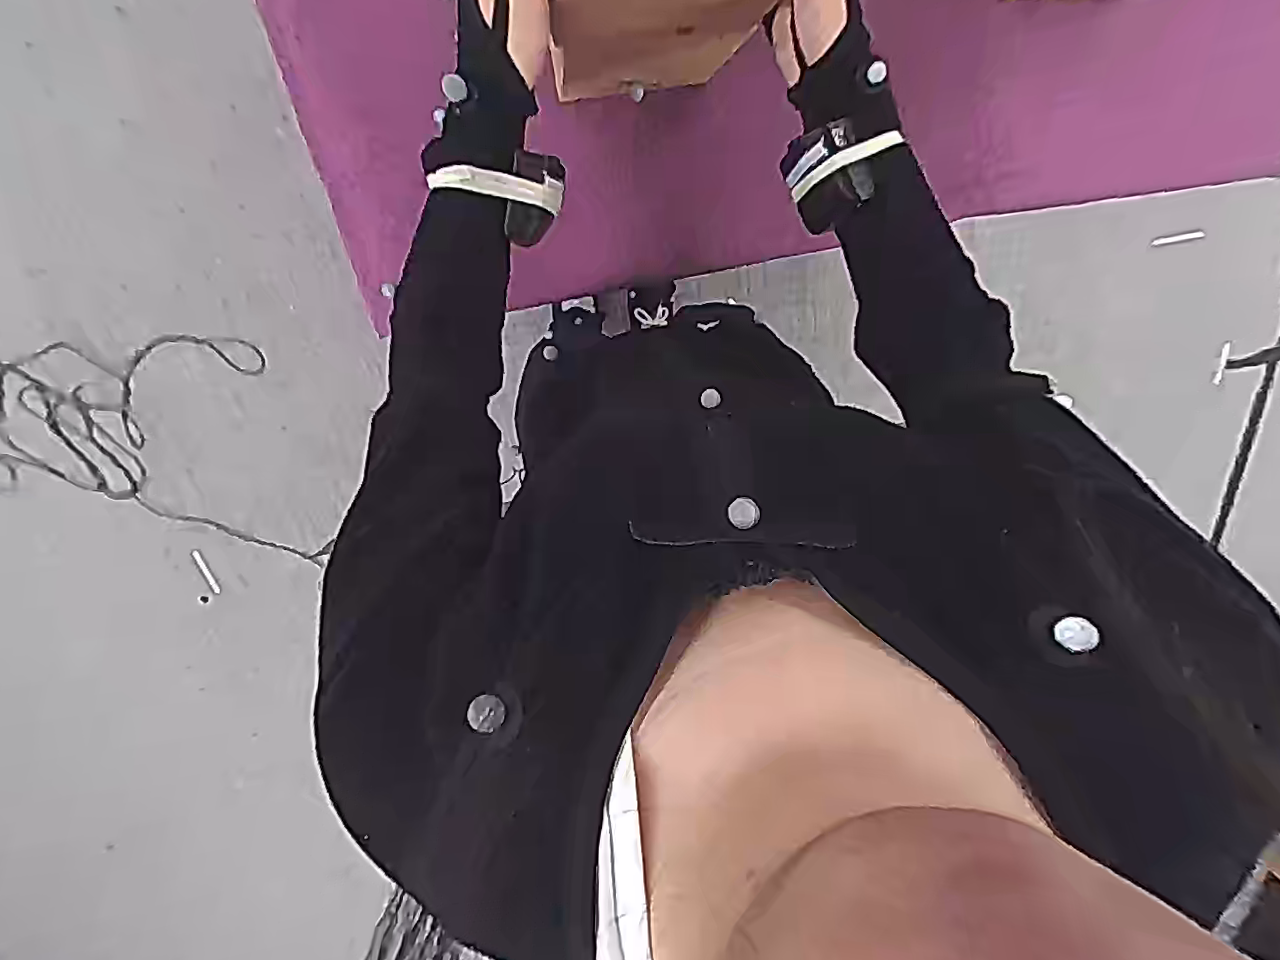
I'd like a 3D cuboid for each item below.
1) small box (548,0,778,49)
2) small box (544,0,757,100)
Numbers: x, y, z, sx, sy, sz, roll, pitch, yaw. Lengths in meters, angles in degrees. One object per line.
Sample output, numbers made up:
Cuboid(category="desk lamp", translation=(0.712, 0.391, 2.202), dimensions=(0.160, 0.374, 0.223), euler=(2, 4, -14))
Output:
Cuboid(category="small box", translation=(0.015, -0.402, 0.329), dimensions=(0.168, 0.176, 0.179), euler=(-9, 114, -5))
Cuboid(category="small box", translation=(-0.005, -0.467, 0.479), dimensions=(0.168, 0.176, 0.179), euler=(-11, 115, -4))
